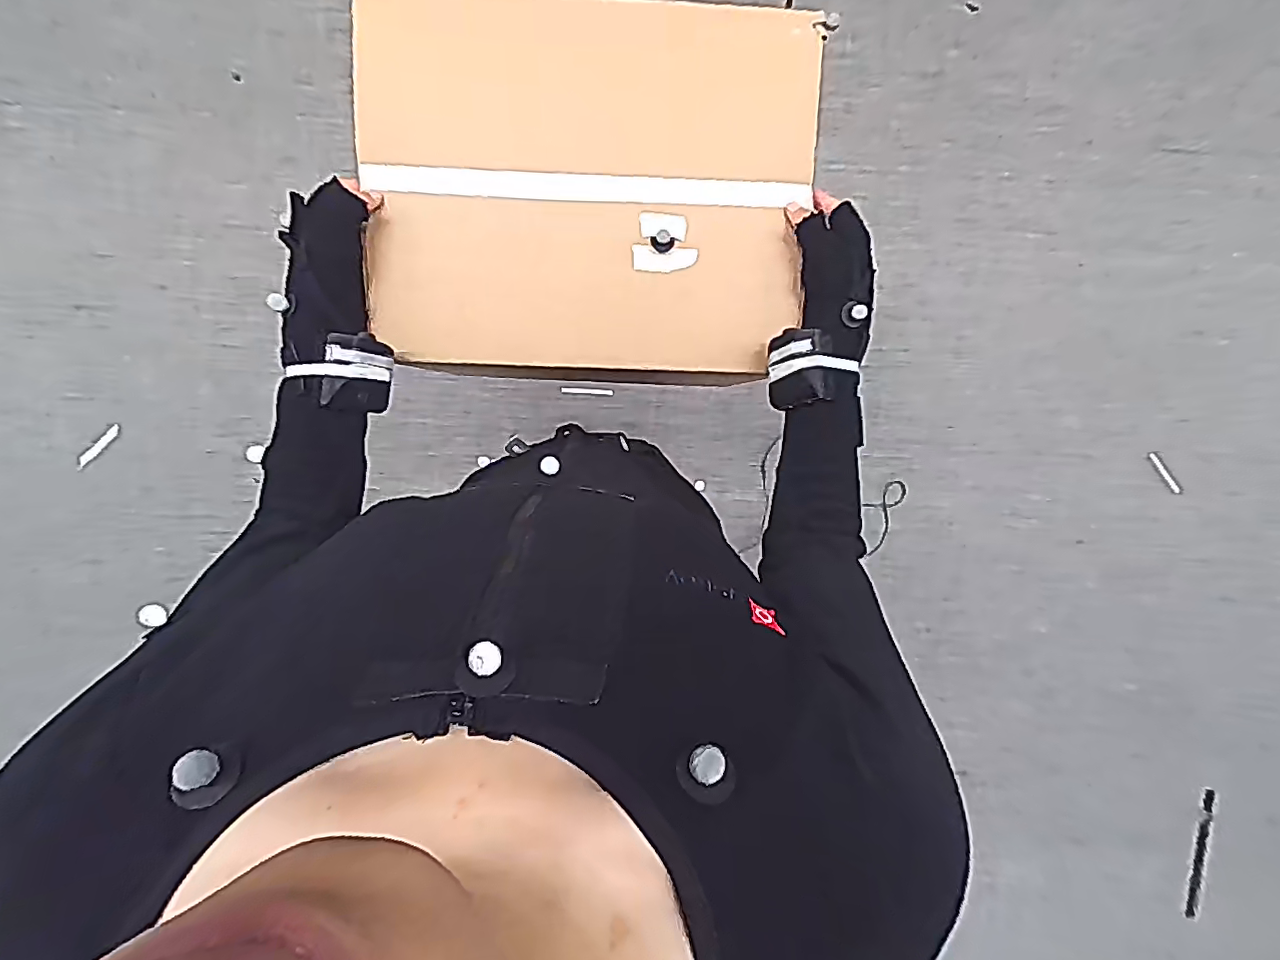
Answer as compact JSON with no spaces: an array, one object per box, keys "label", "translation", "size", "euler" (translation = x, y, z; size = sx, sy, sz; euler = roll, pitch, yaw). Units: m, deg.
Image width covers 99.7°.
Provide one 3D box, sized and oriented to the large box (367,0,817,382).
[{"label":"large box","translation":[-0.050,-0.282,0.641],"size":[0.408,0.320,0.320],"euler":[1,98,-3]}]
